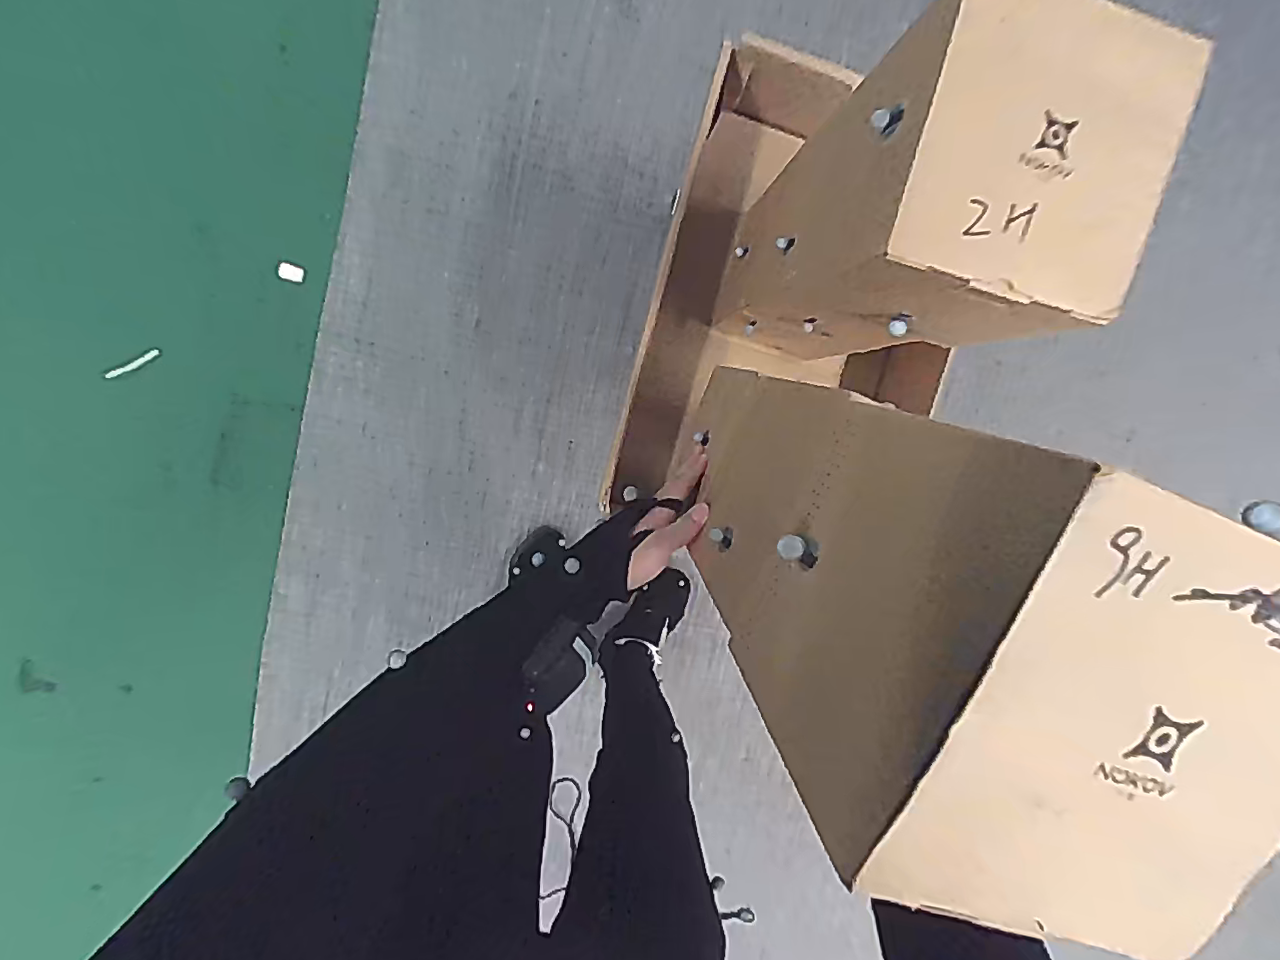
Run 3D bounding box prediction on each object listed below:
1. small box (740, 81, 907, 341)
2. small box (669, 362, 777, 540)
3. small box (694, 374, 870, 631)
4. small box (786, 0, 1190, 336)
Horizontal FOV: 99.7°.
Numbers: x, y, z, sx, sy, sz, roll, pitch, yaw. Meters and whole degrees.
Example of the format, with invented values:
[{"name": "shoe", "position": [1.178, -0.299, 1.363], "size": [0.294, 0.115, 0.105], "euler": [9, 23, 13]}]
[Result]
[{"name": "small box", "position": [0.220, -0.259, 0.570], "size": [0.168, 0.176, 0.179], "euler": [14, 98, -7]}, {"name": "small box", "position": [0.140, -0.016, 0.590], "size": [0.168, 0.176, 0.179], "euler": [22, 102, -9]}, {"name": "small box", "position": [0.154, 0.027, 0.436], "size": [0.168, 0.176, 0.179], "euler": [20, 101, -11]}, {"name": "small box", "position": [0.230, -0.221, 0.409], "size": [0.168, 0.176, 0.179], "euler": [13, 98, -7]}]
